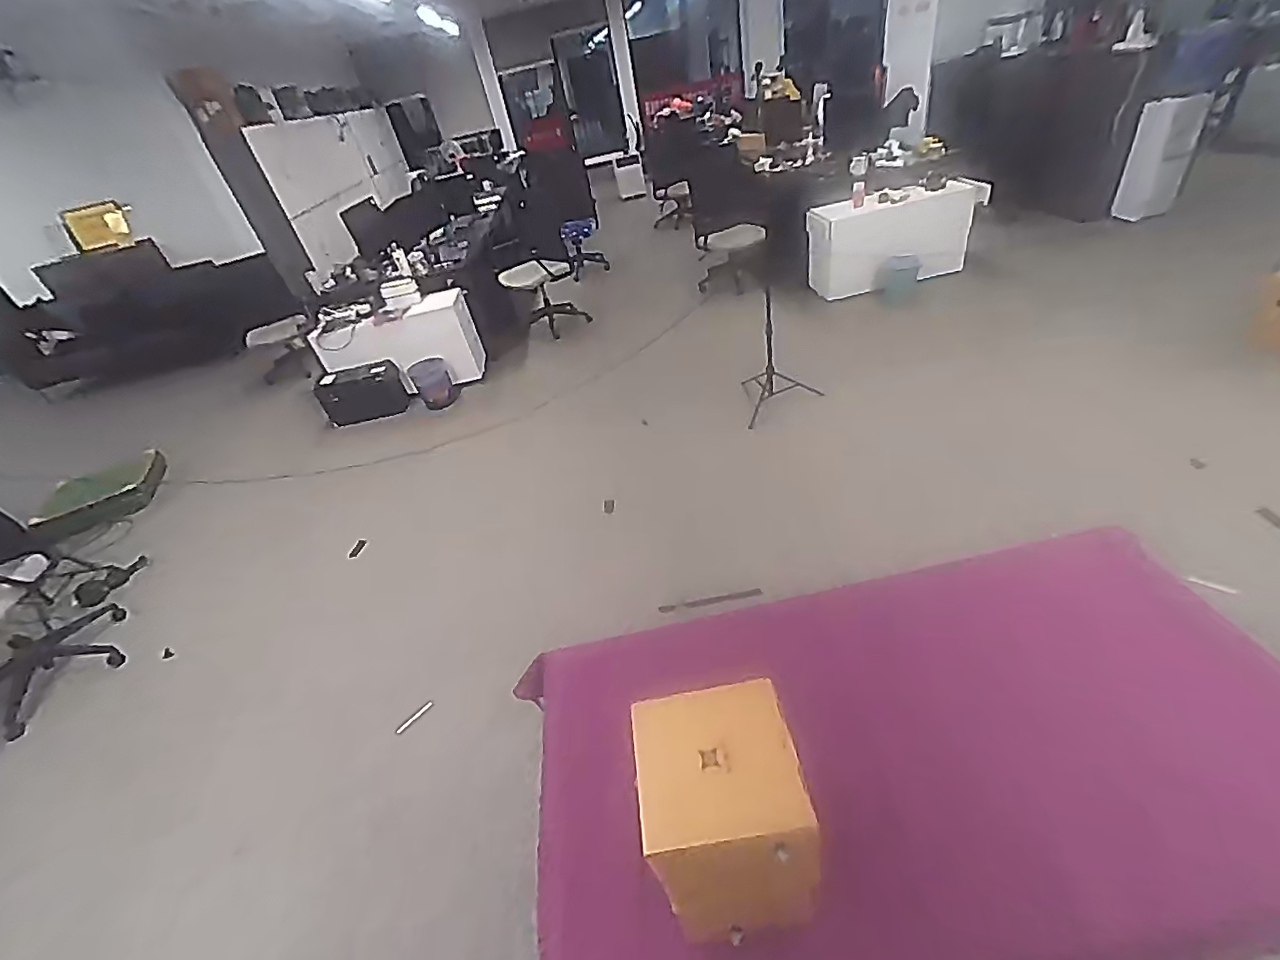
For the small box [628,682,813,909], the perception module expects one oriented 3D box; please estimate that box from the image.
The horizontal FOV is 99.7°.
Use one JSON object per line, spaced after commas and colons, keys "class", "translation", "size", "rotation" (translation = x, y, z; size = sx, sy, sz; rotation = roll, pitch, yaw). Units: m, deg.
{"class": "small box", "translation": [0.092, 0.369, 0.632], "size": [0.179, 0.176, 0.168], "rotation": [-12, 37, 3]}
